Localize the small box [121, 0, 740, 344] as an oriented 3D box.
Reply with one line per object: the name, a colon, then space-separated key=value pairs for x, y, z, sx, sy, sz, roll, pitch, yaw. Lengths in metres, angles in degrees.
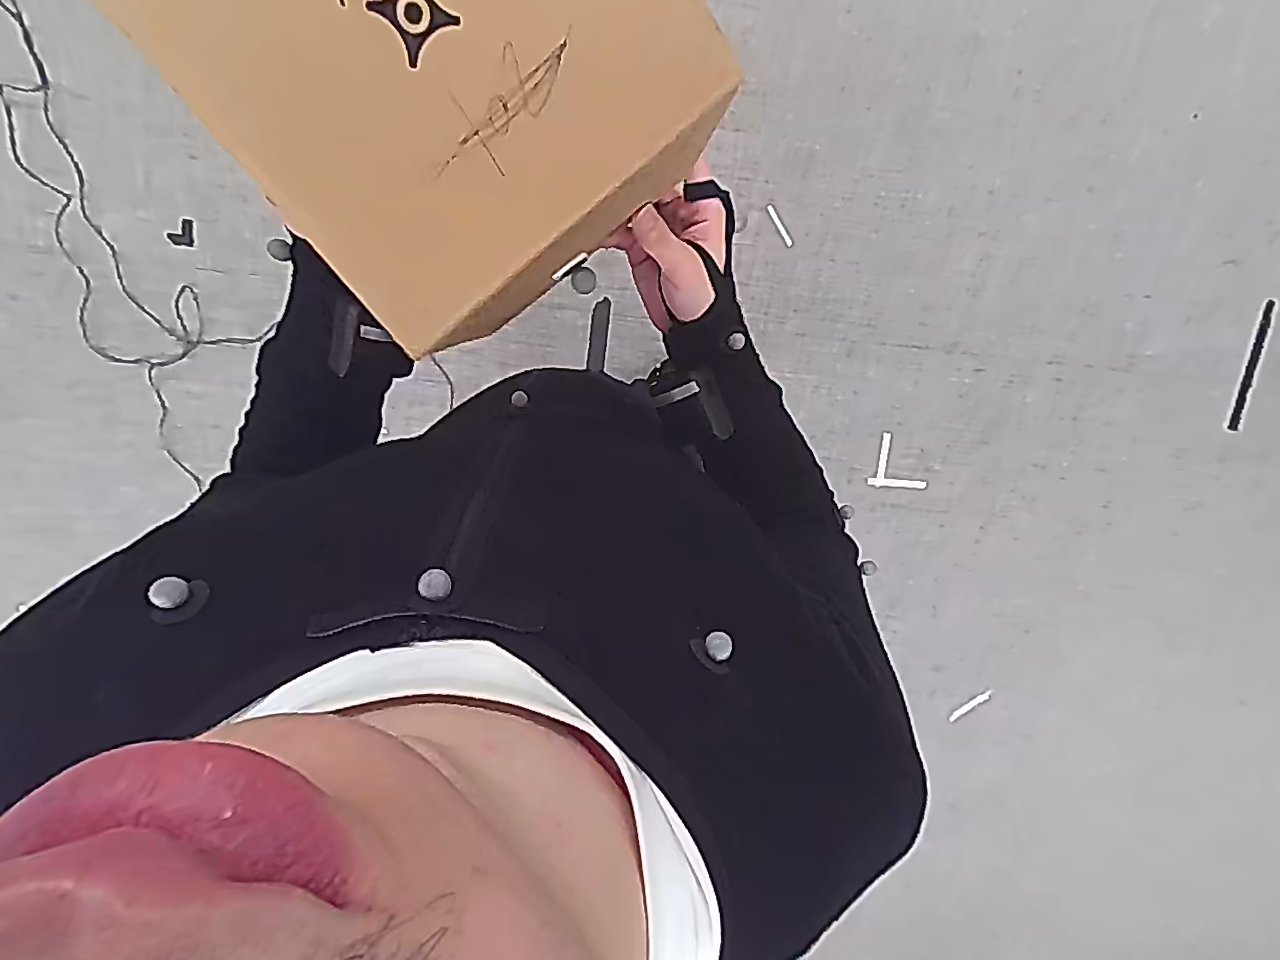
small box: x=-0.079 y=-0.192 z=0.271 sx=0.168 sy=0.176 sz=0.179 roll=-37 pitch=106 yaw=11
